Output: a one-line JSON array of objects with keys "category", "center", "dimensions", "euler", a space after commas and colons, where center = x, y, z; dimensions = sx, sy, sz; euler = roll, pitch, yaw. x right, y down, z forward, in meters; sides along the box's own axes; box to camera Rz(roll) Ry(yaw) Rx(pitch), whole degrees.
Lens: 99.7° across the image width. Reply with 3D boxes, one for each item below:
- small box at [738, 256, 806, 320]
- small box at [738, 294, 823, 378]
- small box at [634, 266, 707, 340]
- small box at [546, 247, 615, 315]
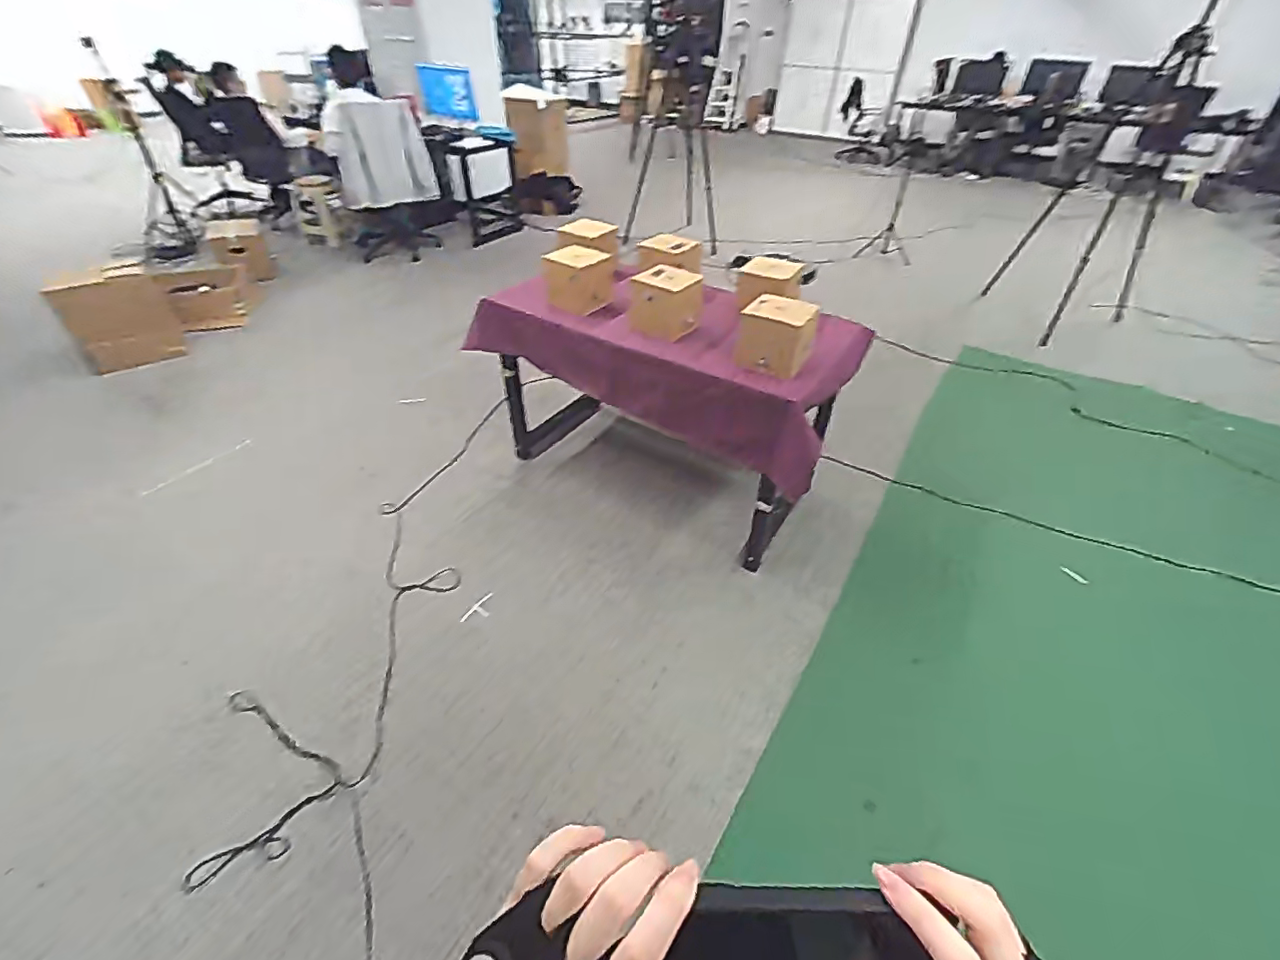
[{"category": "small box", "center": [0.444, -0.637, 1.836], "dimensions": [0.168, 0.176, 0.179], "euler": [22, 45, 23]}, {"category": "small box", "center": [0.404, -0.415, 1.574], "dimensions": [0.179, 0.176, 0.168], "euler": [24, 45, 24]}, {"category": "small box", "center": [0.094, -0.572, 1.752], "dimensions": [0.179, 0.176, 0.168], "euler": [28, 47, 26]}, {"category": "small box", "center": [-0.206, -0.696, 1.891], "dimensions": [0.179, 0.176, 0.168], "euler": [26, 46, 25]}]
